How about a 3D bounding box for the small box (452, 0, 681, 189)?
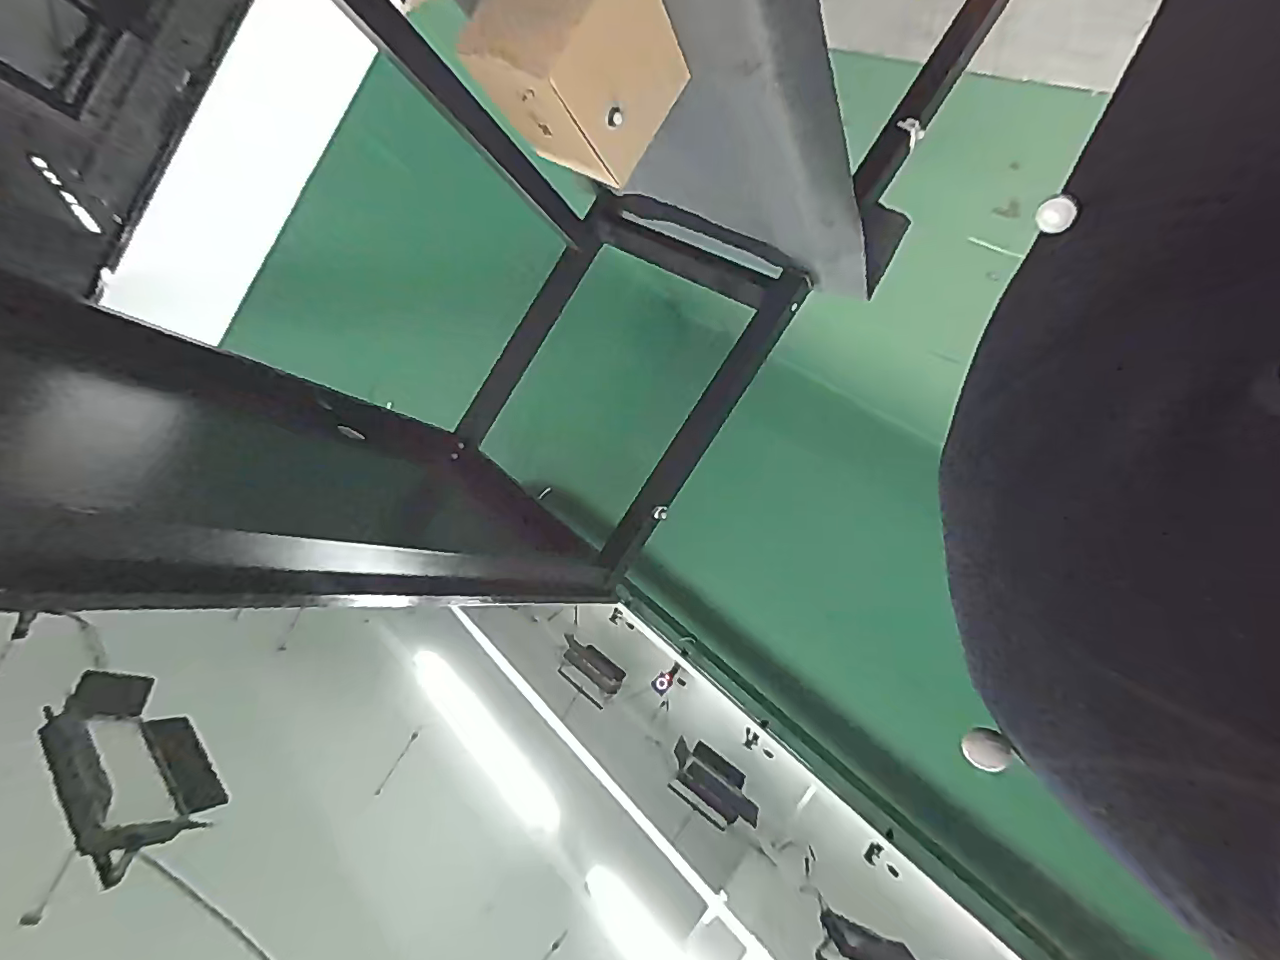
[{"bbox_3d":[-0.076,-0.498,0.646,0.168,0.176,0.179,35,-175,25],"label":"small box"}]
